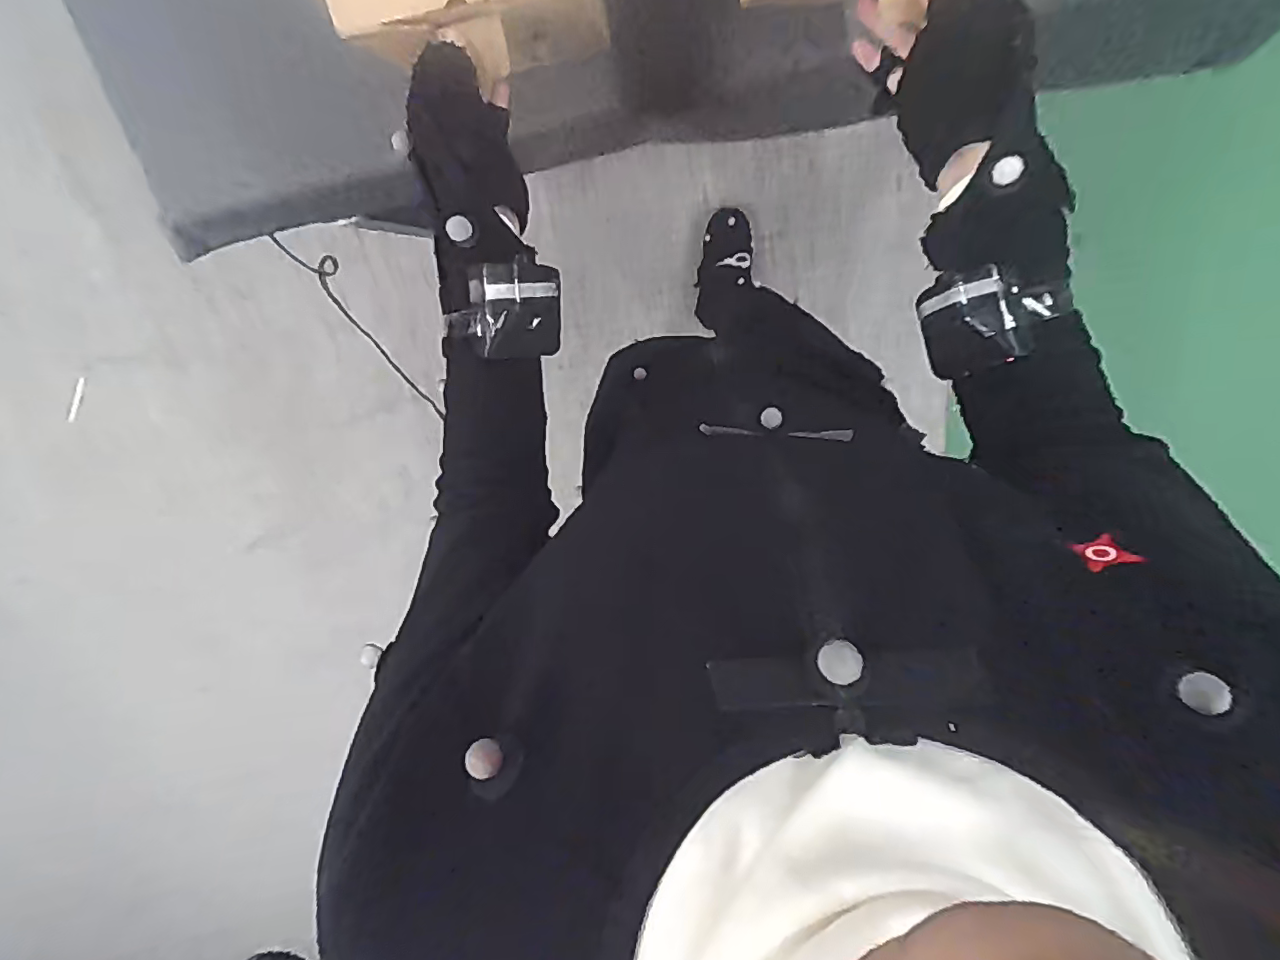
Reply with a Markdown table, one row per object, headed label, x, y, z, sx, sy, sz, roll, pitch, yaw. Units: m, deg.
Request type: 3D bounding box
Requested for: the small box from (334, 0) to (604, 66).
| label | x | y | z | sx | sy | sz | roll | pitch | yaw |
| --- | --- | --- | --- | --- | --- | --- | --- | --- | --- |
| small box | -0.124 | -0.417 | 0.376 | 0.168 | 0.176 | 0.179 | -7 | 115 | 5 |
